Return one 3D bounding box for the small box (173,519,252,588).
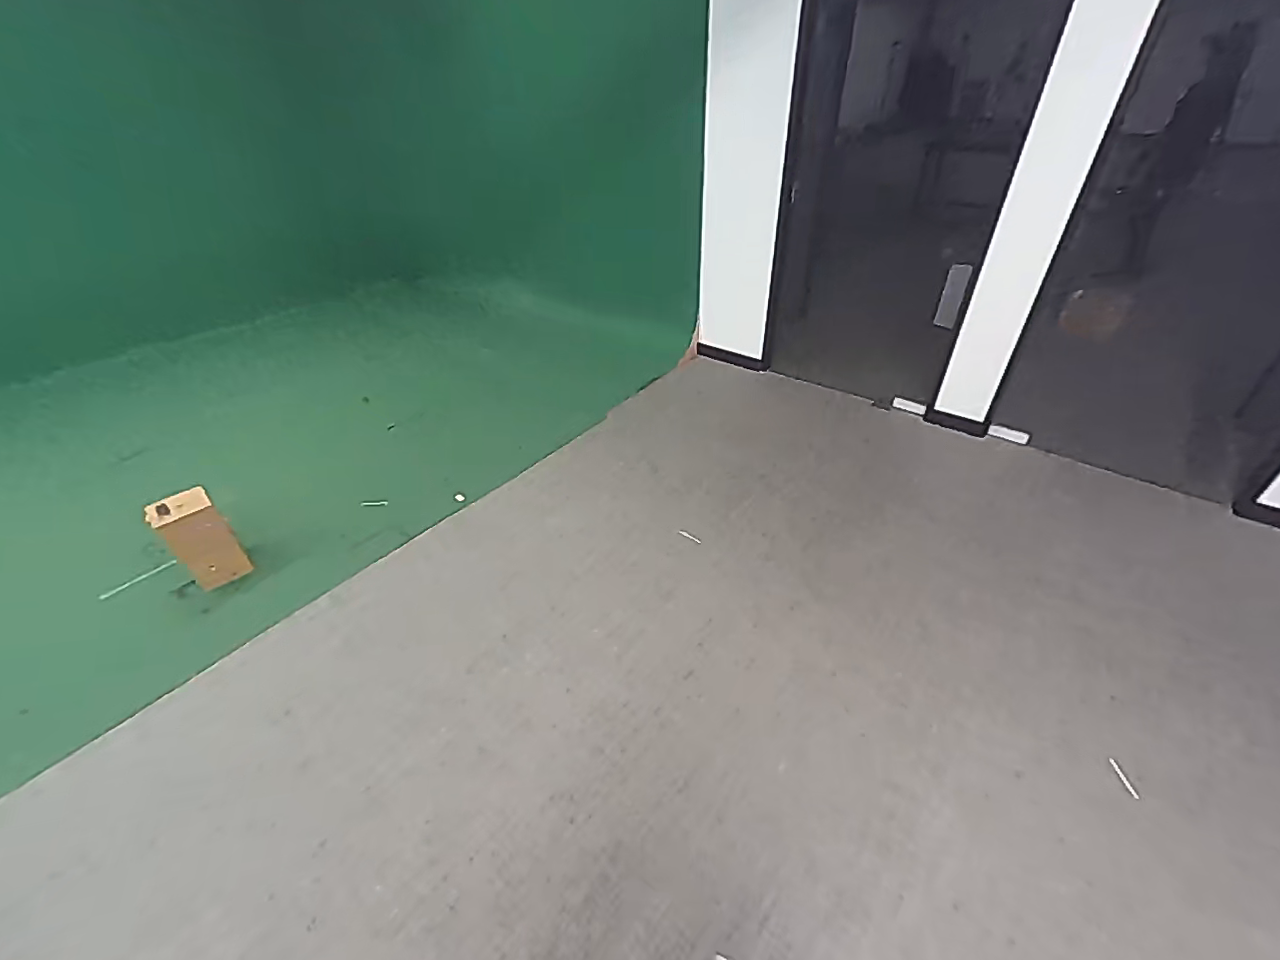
[{"bbox_3d":[-1.606,0.283,2.037,0.168,0.176,0.179,-30,46,-32],"label":"small box"}]
